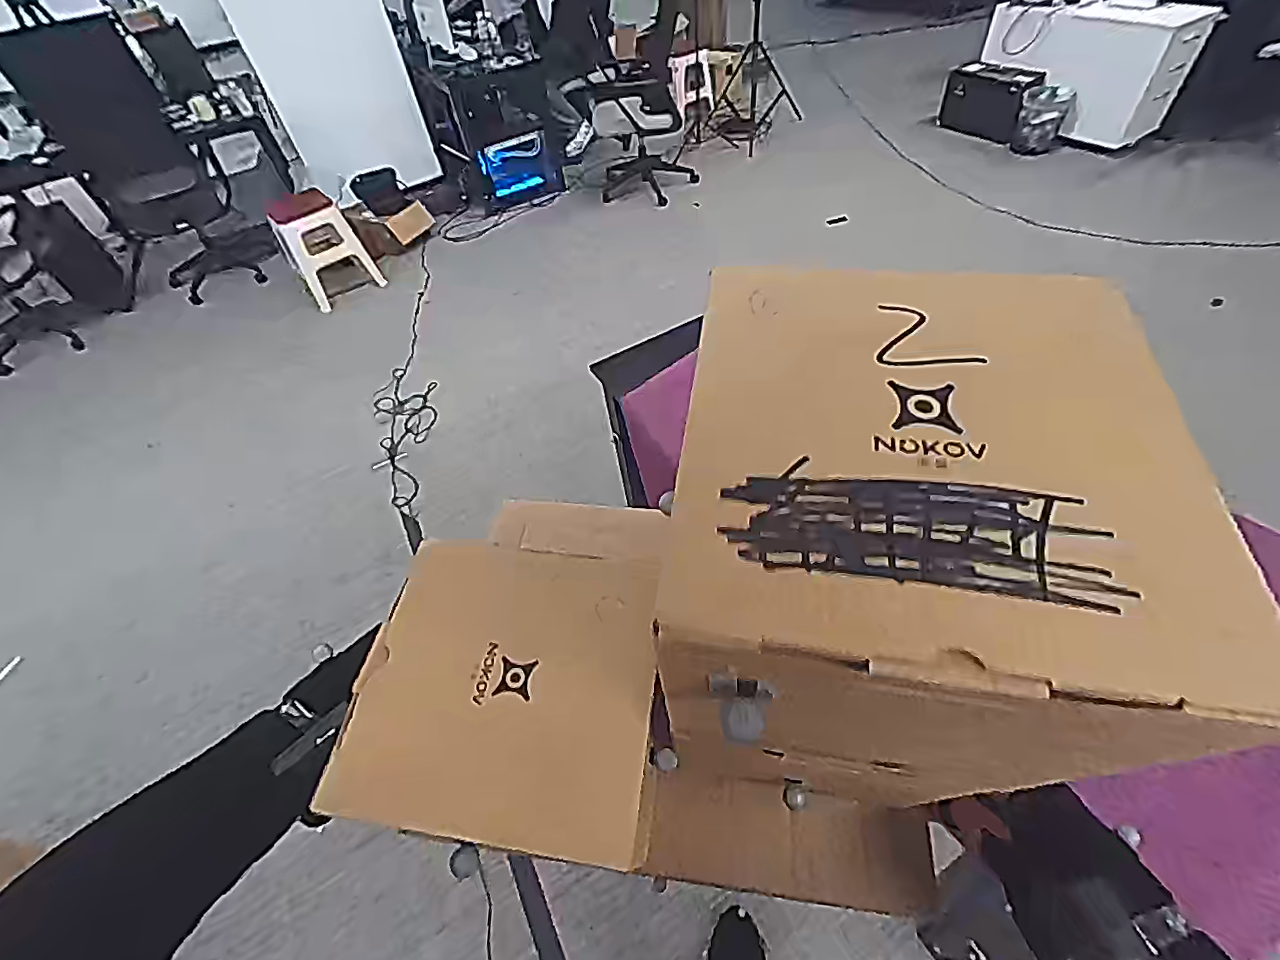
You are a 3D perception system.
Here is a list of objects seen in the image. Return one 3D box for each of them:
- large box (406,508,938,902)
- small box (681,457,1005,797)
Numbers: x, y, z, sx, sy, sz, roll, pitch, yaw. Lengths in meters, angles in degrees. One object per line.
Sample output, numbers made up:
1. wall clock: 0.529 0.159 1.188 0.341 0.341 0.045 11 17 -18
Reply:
1. large box: 0.041 0.247 0.604 0.408 0.320 0.320 3 53 8
2. small box: 0.122 0.108 0.391 0.168 0.176 0.179 6 55 10
